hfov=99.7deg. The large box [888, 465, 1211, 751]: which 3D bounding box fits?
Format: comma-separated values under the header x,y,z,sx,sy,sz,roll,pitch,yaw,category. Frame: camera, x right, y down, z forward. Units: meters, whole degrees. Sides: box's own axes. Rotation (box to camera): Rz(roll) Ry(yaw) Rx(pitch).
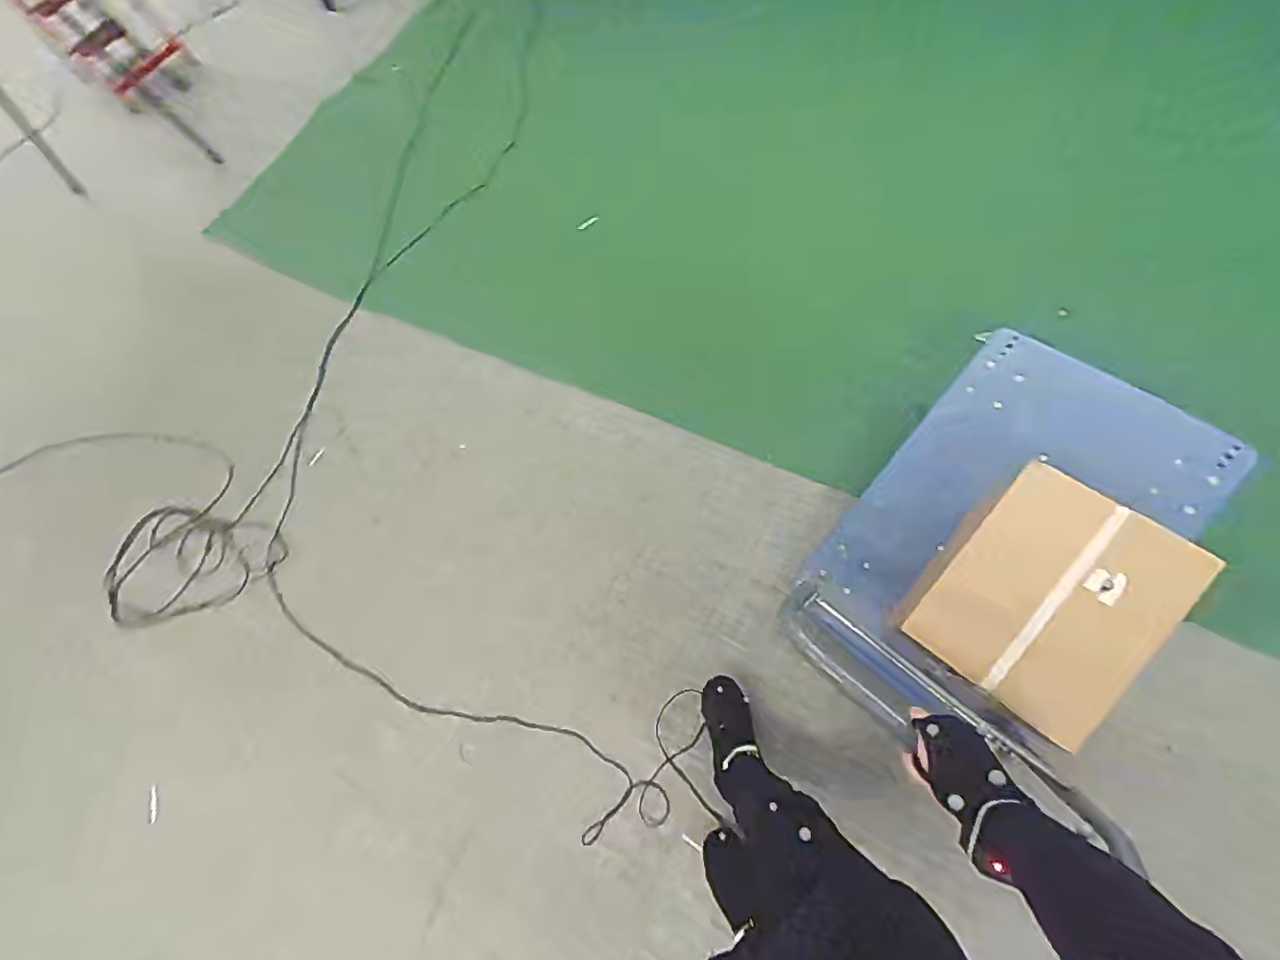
x,y,z,sx,sy,sz,roll,pitch,yaw,category
0.765,0.248,1.088,0.320,0.320,0.408,38,89,22,large box
